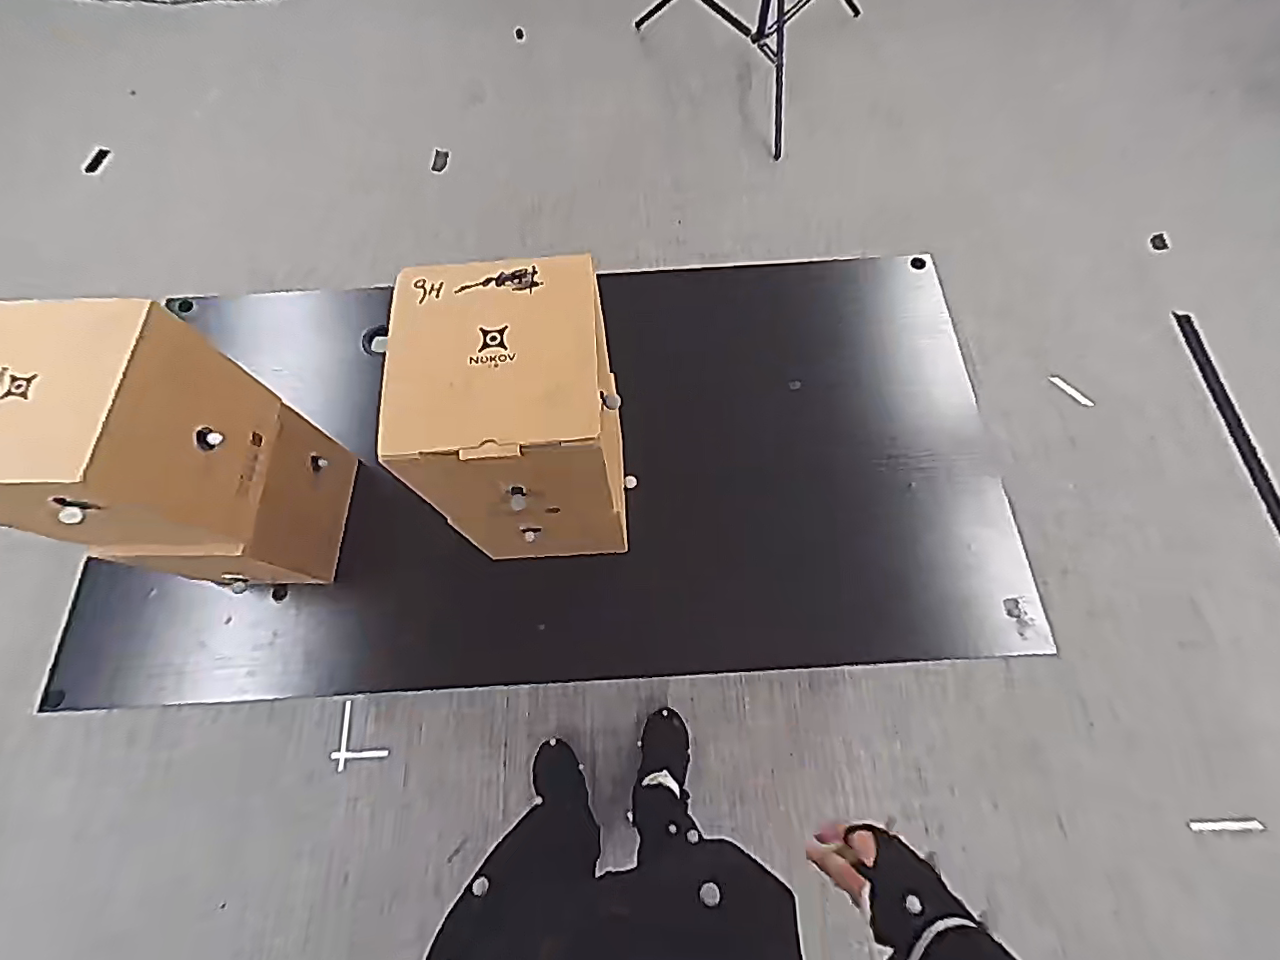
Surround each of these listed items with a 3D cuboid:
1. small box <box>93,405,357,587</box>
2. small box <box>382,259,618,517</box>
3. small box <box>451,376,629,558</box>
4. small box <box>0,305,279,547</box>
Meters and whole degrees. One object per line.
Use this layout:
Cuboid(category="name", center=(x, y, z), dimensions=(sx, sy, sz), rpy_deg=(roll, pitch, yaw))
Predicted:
Cuboid(category="small box", center=(-0.468, 0.026, 0.645), dimensions=(0.168, 0.176, 0.179), rpy_deg=(-1, 70, 2))
Cuboid(category="small box", center=(-0.110, -0.069, 0.495), dimensions=(0.168, 0.176, 0.179), rpy_deg=(-4, 70, 0))
Cuboid(category="small box", center=(-0.106, -0.007, 0.646), dimensions=(0.179, 0.176, 0.168), rpy_deg=(-3, 69, 0))
Cuboid(category="small box", center=(-0.477, -0.039, 0.494), dimensions=(0.179, 0.176, 0.168), rpy_deg=(-1, 68, 2))
